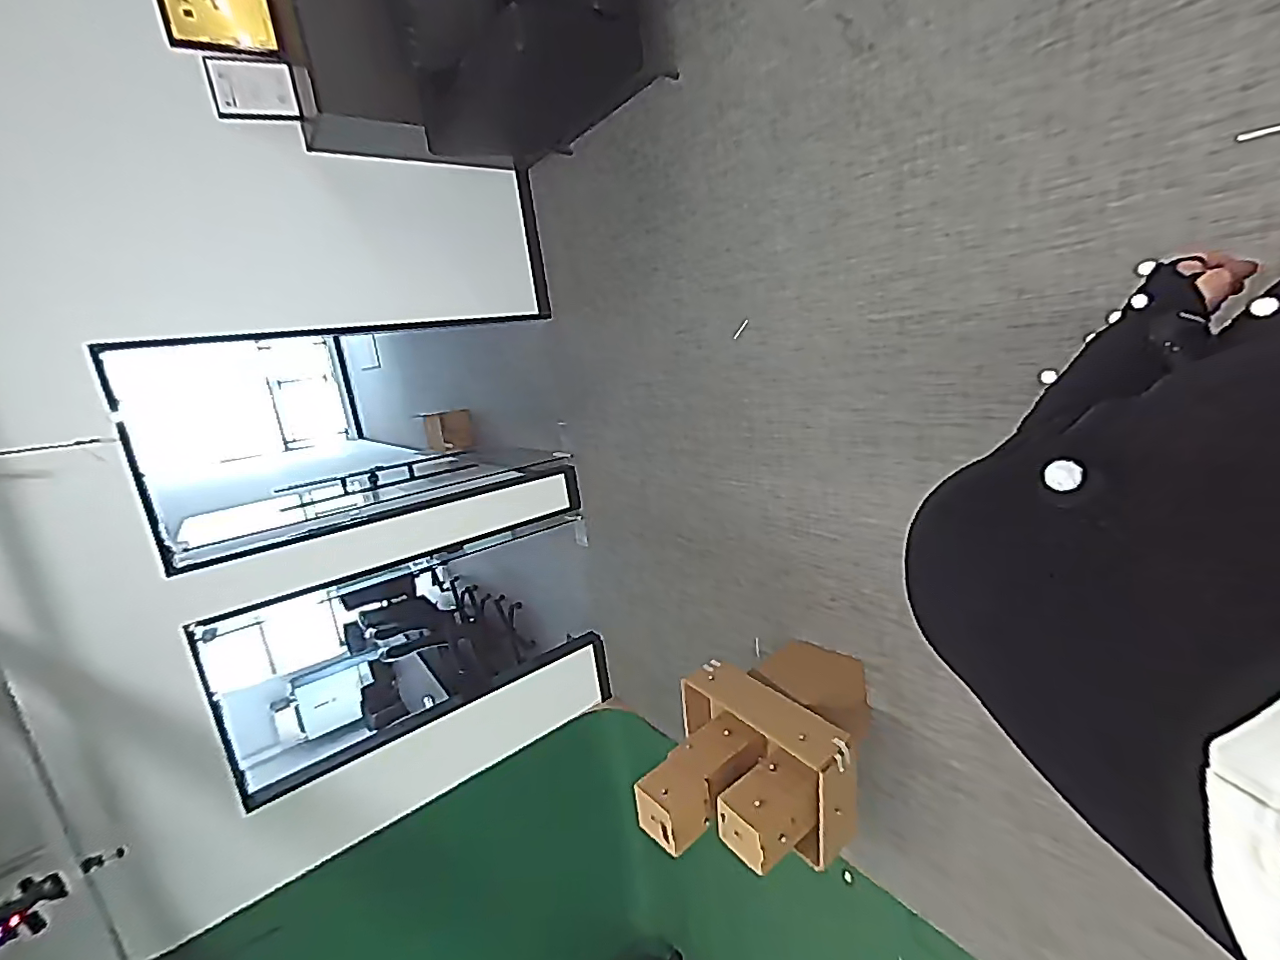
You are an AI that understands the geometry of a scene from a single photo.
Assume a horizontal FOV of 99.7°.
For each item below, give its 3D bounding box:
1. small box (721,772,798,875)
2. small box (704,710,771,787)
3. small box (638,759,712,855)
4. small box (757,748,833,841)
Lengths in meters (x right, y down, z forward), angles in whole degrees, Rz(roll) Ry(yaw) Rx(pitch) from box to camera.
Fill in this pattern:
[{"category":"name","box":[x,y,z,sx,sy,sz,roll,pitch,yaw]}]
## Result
[{"category":"small box","box":[0.375,1.054,1.678,0.179,0.176,0.168,16,115,51]},{"category":"small box","box":[0.356,0.972,1.970,0.179,0.176,0.168,11,112,49]},{"category":"small box","box":[0.119,1.050,1.755,0.179,0.176,0.168,9,110,51]},{"category":"small box","box":[0.504,1.016,1.769,0.179,0.176,0.168,17,117,52]}]
